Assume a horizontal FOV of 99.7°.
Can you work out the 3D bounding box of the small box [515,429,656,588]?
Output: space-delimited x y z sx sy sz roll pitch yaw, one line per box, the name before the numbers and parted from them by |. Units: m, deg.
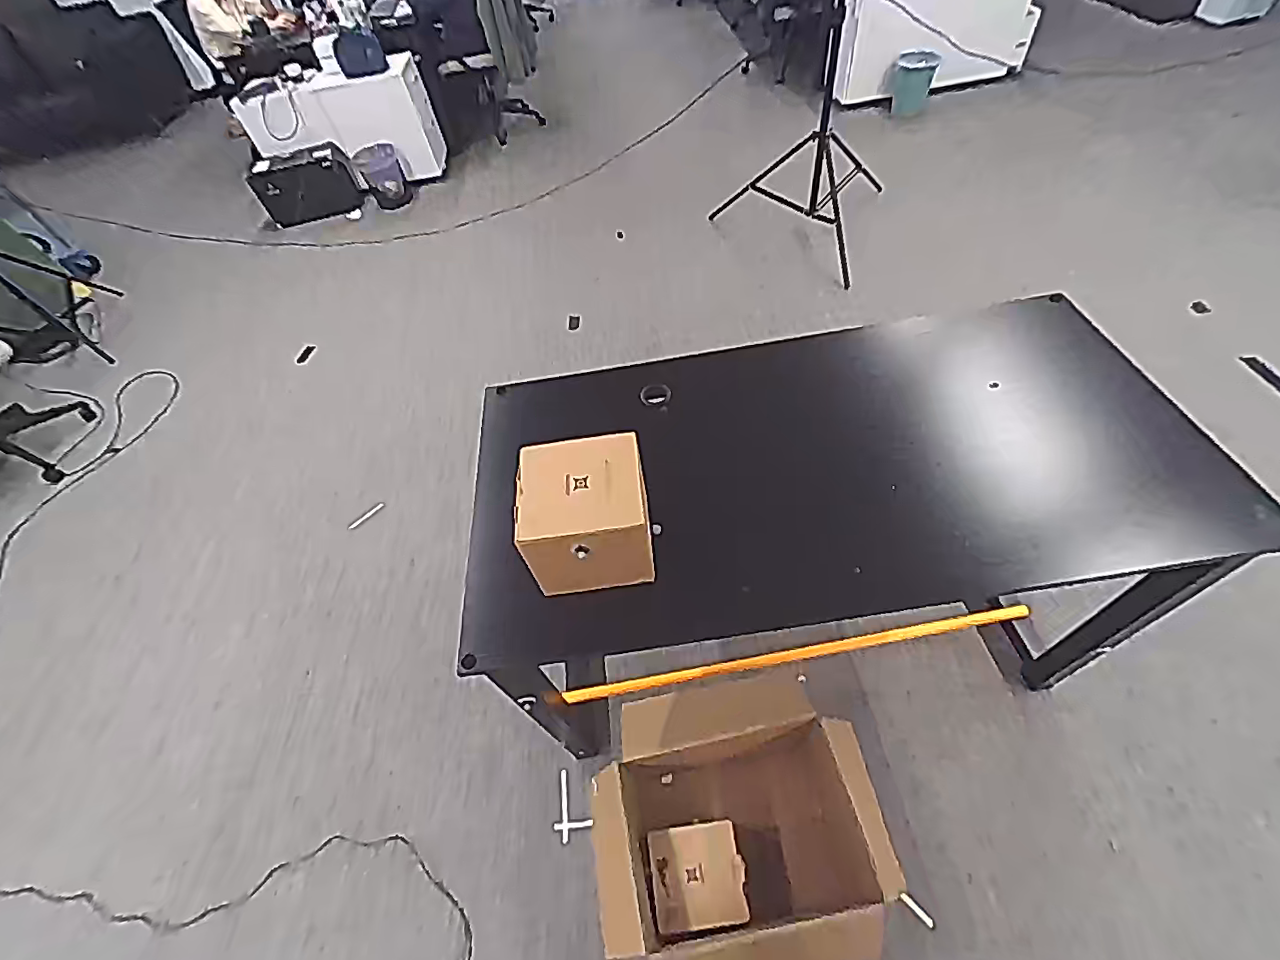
small box | -0.076 0.049 0.811 0.179 0.176 0.168 -8 53 1
